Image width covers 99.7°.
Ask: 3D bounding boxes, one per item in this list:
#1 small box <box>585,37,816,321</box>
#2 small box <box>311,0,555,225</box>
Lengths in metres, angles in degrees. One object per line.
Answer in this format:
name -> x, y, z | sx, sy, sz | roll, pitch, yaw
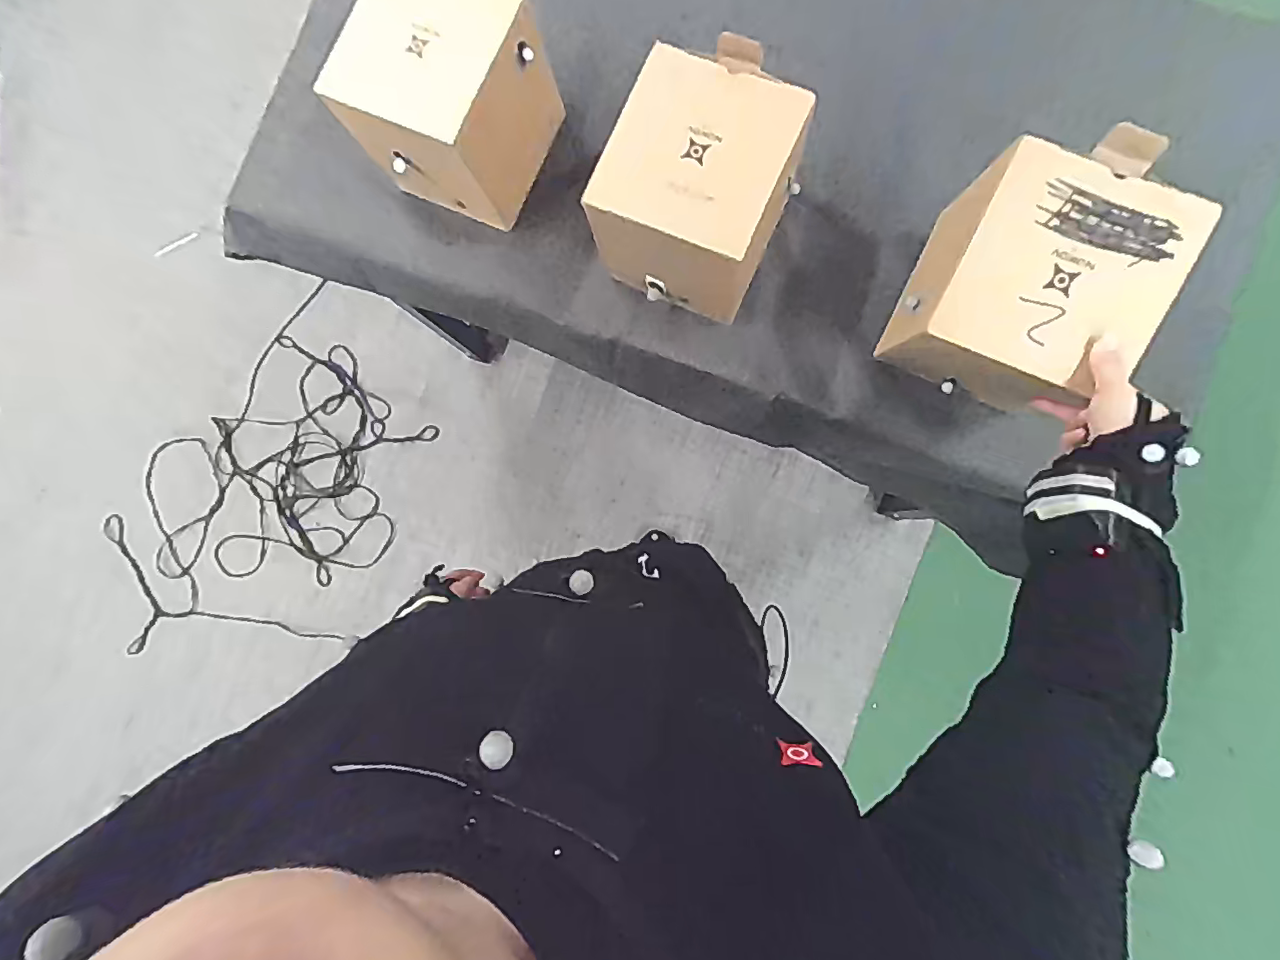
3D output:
small box -> 0.062, -0.301, 0.576 | 0.168, 0.176, 0.179 | 23, 88, 8
small box -> -0.213, -0.428, 0.611 | 0.168, 0.176, 0.179 | 24, 87, 7
